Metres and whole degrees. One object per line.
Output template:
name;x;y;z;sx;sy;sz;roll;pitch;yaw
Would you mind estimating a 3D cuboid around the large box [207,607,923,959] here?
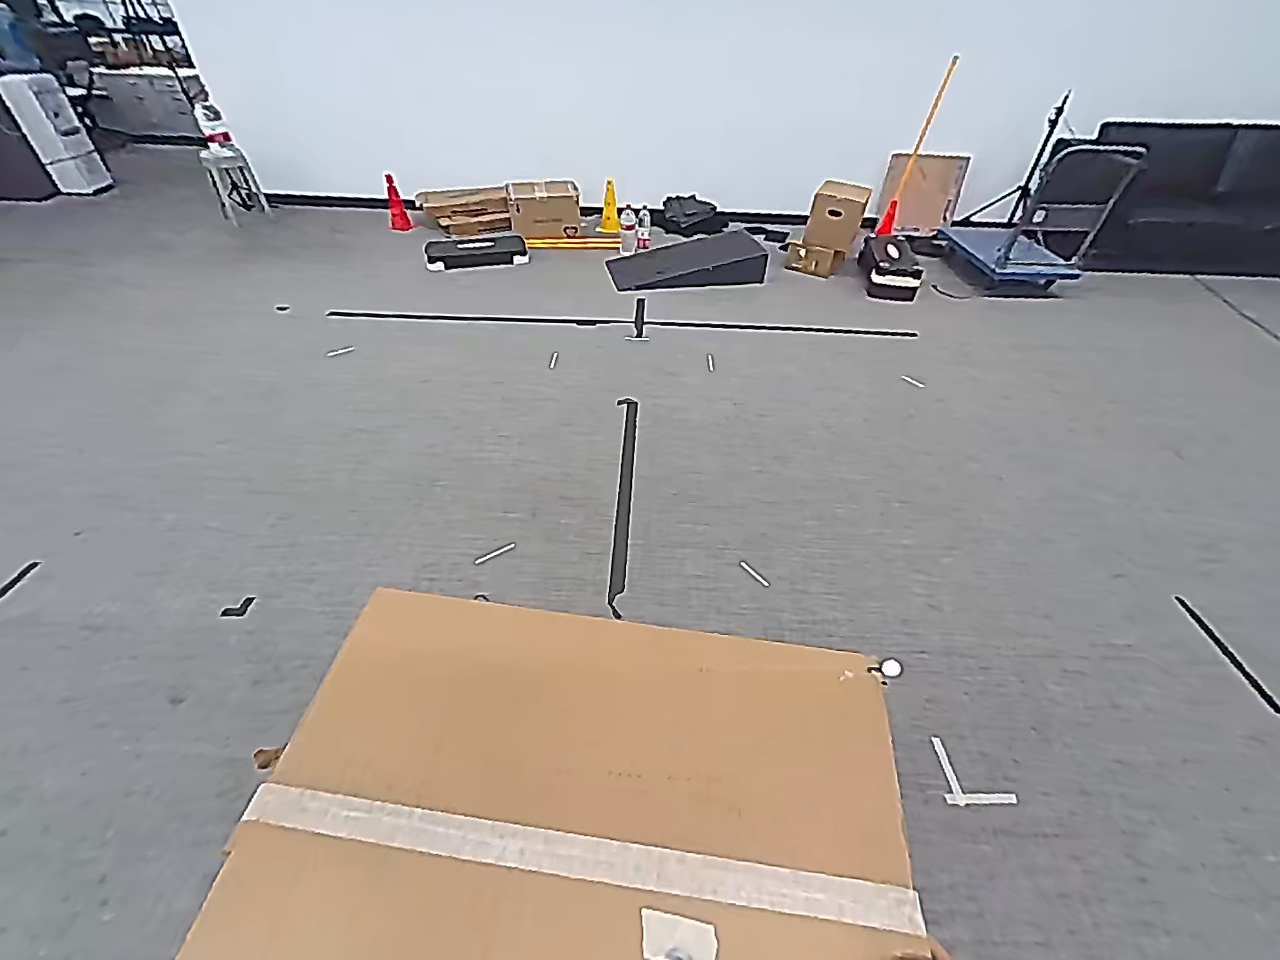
large box;-0.039;0.336;0.441;0.408;0.320;0.320;7;49;4
